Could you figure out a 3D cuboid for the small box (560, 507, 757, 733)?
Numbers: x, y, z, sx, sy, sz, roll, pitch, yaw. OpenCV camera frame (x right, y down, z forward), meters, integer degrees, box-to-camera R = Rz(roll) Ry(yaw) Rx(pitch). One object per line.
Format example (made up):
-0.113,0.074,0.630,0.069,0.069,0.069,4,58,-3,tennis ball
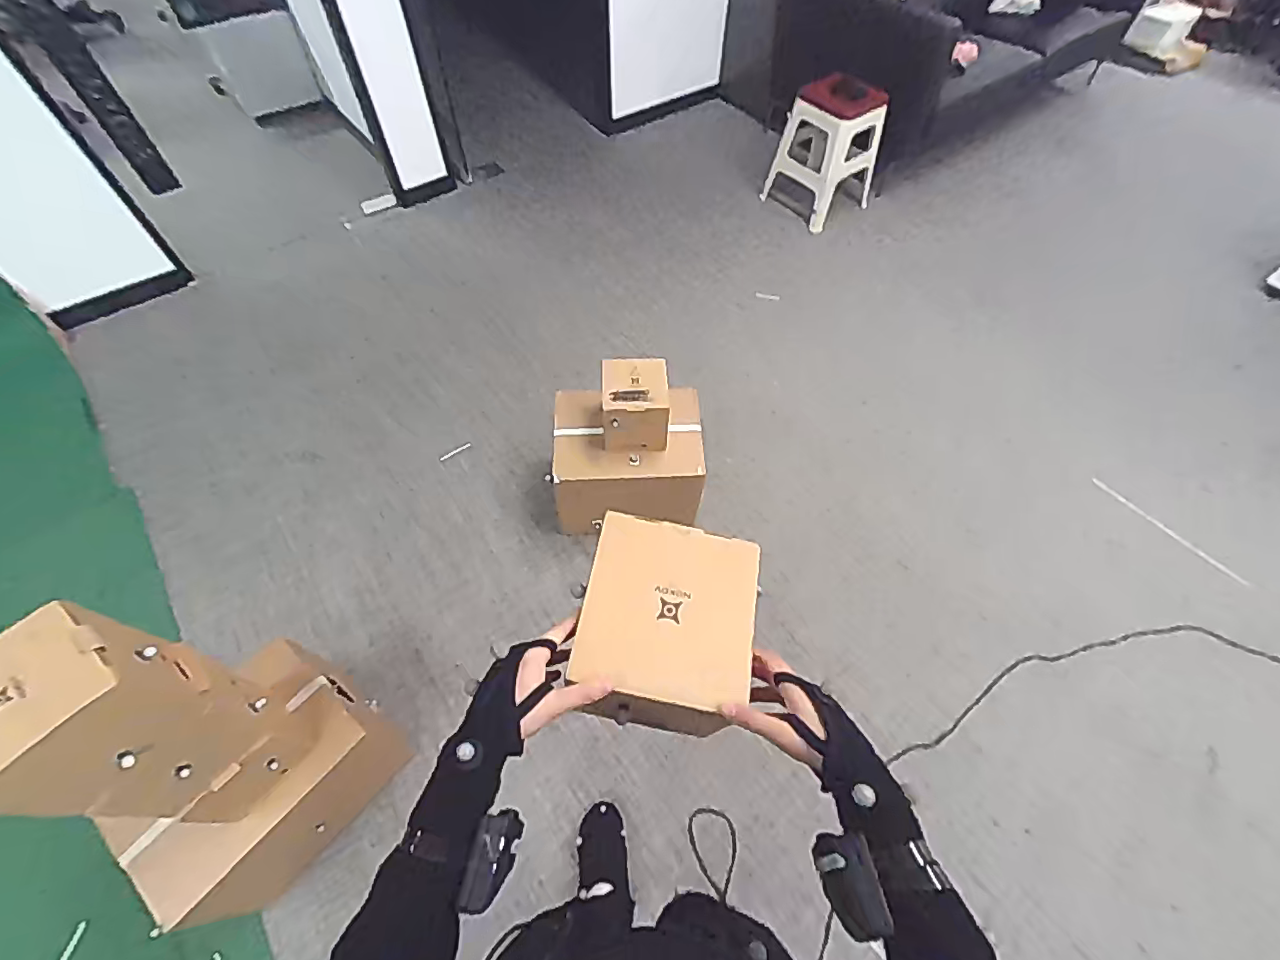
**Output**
0.018,0.158,0.581,0.168,0.176,0.179,12,56,1,small box

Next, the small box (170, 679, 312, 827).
-0.735,0.481,0.965,0.179,0.176,0.168,35,62,20,small box

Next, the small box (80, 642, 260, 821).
-0.732,0.387,0.831,0.168,0.176,0.179,34,62,19,small box

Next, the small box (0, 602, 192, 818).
-0.733,0.297,0.694,0.168,0.176,0.179,34,61,20,small box

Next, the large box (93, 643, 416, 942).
-0.776,0.636,1.154,0.320,0.320,0.408,33,63,21,large box
